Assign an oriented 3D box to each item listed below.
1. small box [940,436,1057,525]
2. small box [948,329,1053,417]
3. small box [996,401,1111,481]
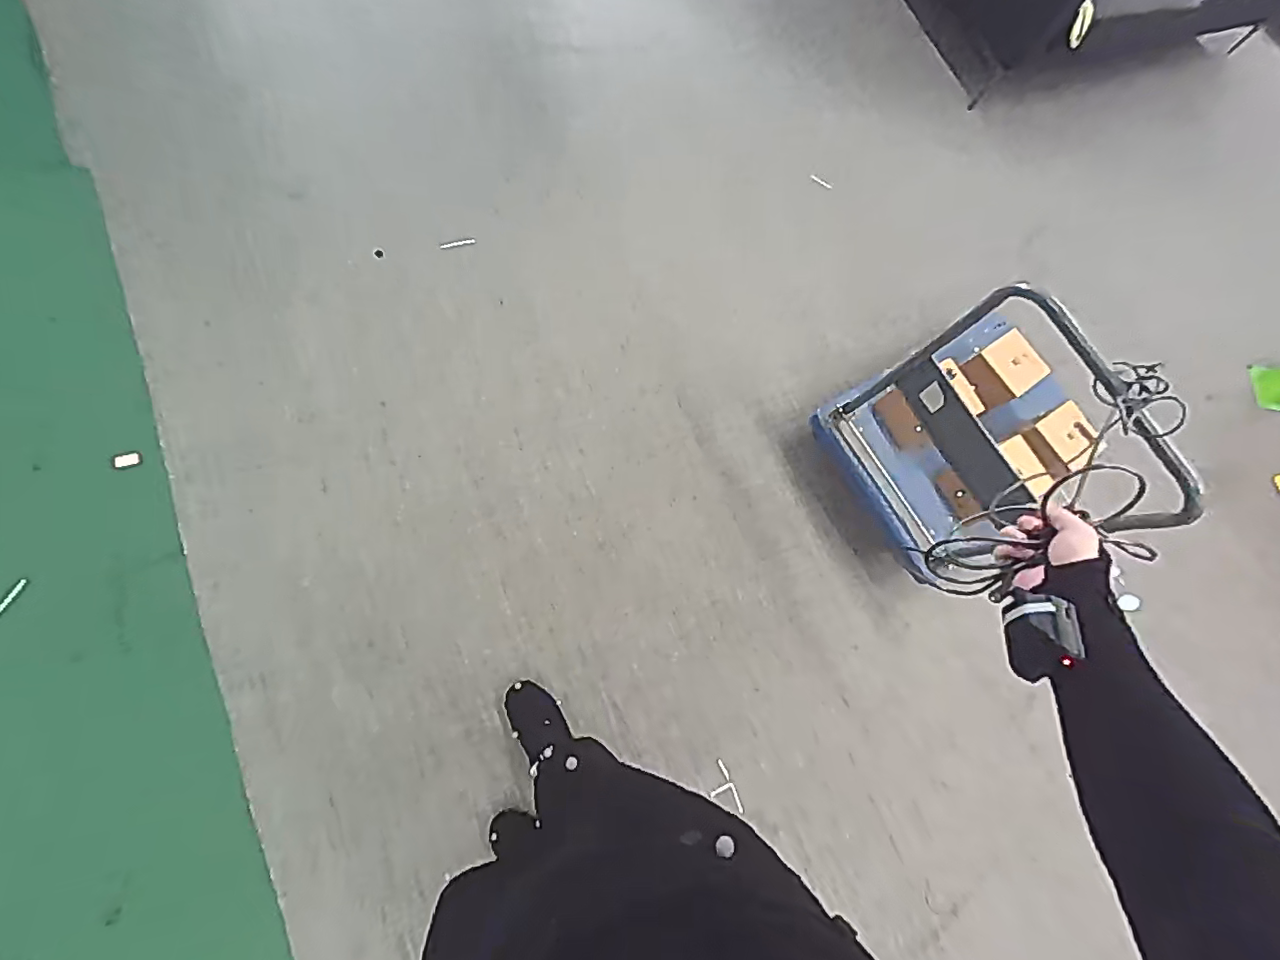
[{"bbox_3d":[0.988,0.006,1.504,0.179,0.176,0.168,-26,79,-17],"label":"small box"},{"bbox_3d":[1.068,-0.315,1.622,0.179,0.176,0.168,-31,82,-19],"label":"small box"},{"bbox_3d":[1.196,-0.098,1.578,0.179,0.176,0.168,-29,80,-18],"label":"small box"}]
